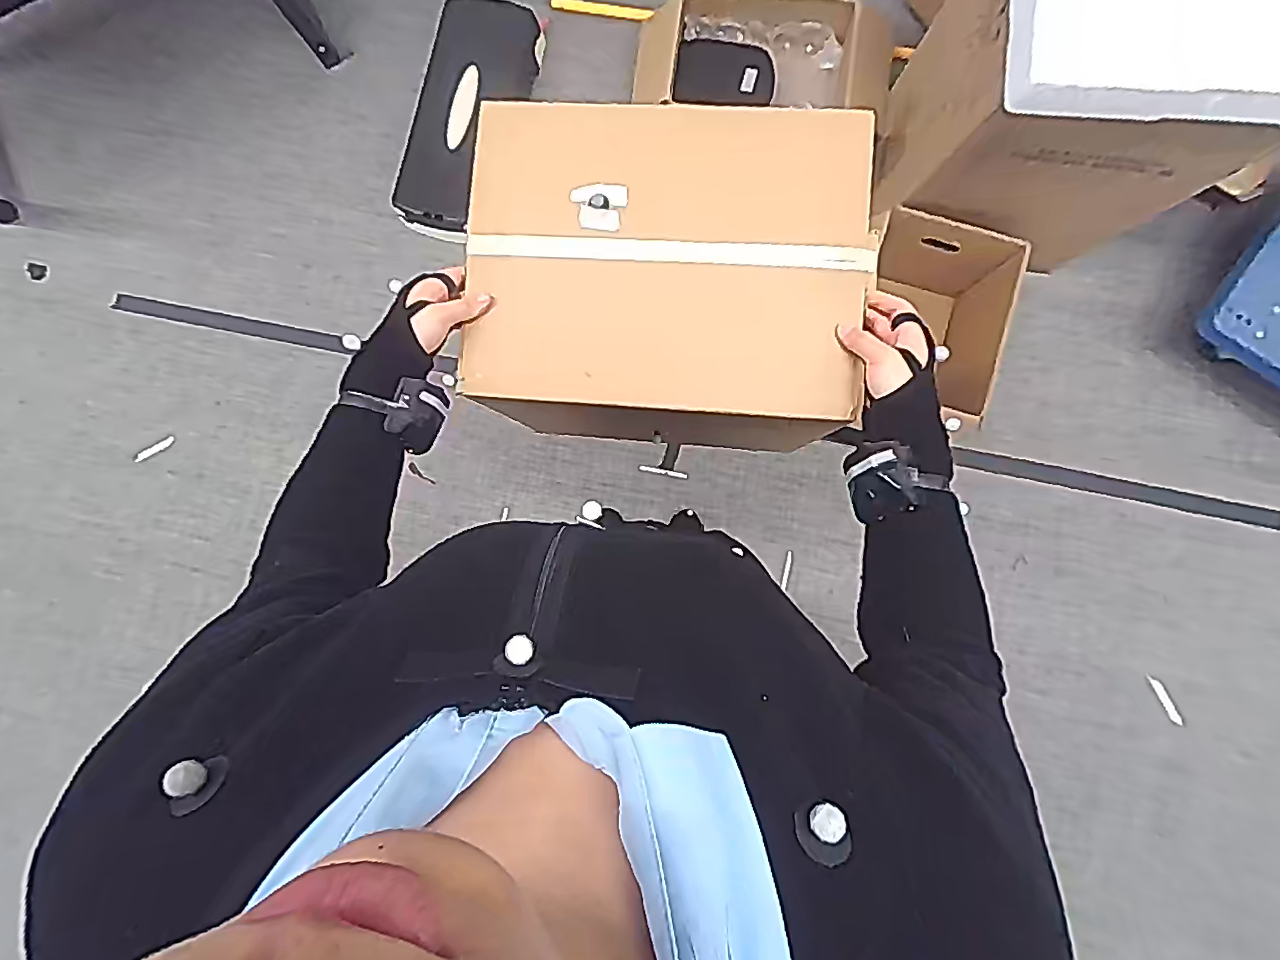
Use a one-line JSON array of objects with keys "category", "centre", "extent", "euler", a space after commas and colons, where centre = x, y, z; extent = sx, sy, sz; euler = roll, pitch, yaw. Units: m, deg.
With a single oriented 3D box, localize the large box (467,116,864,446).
[{"category": "large box", "centre": [0.038, -0.218, 0.706], "extent": [0.408, 0.320, 0.320], "euler": [4, 86, 6]}]
